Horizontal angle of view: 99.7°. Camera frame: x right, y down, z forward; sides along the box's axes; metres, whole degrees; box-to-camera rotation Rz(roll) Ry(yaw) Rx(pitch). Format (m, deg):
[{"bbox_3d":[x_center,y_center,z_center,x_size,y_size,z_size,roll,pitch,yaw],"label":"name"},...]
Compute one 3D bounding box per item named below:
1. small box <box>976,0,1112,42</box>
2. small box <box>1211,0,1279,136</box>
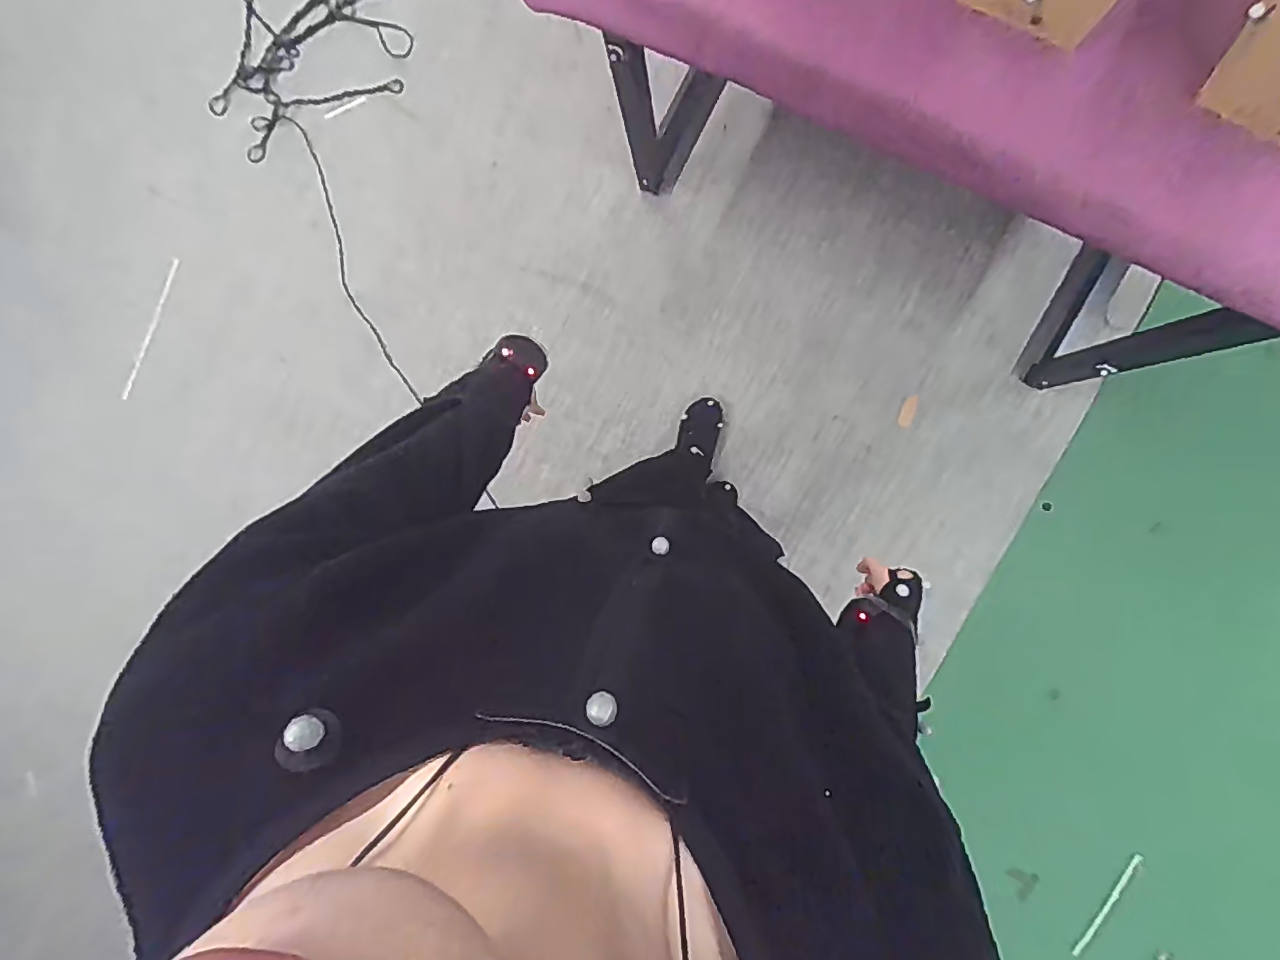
[{"bbox_3d":[0.516,-0.666,0.610,0.168,0.176,0.179,30,96,5],"label":"small box"},{"bbox_3d":[0.798,-0.504,0.583,0.168,0.176,0.179,32,96,5],"label":"small box"}]
